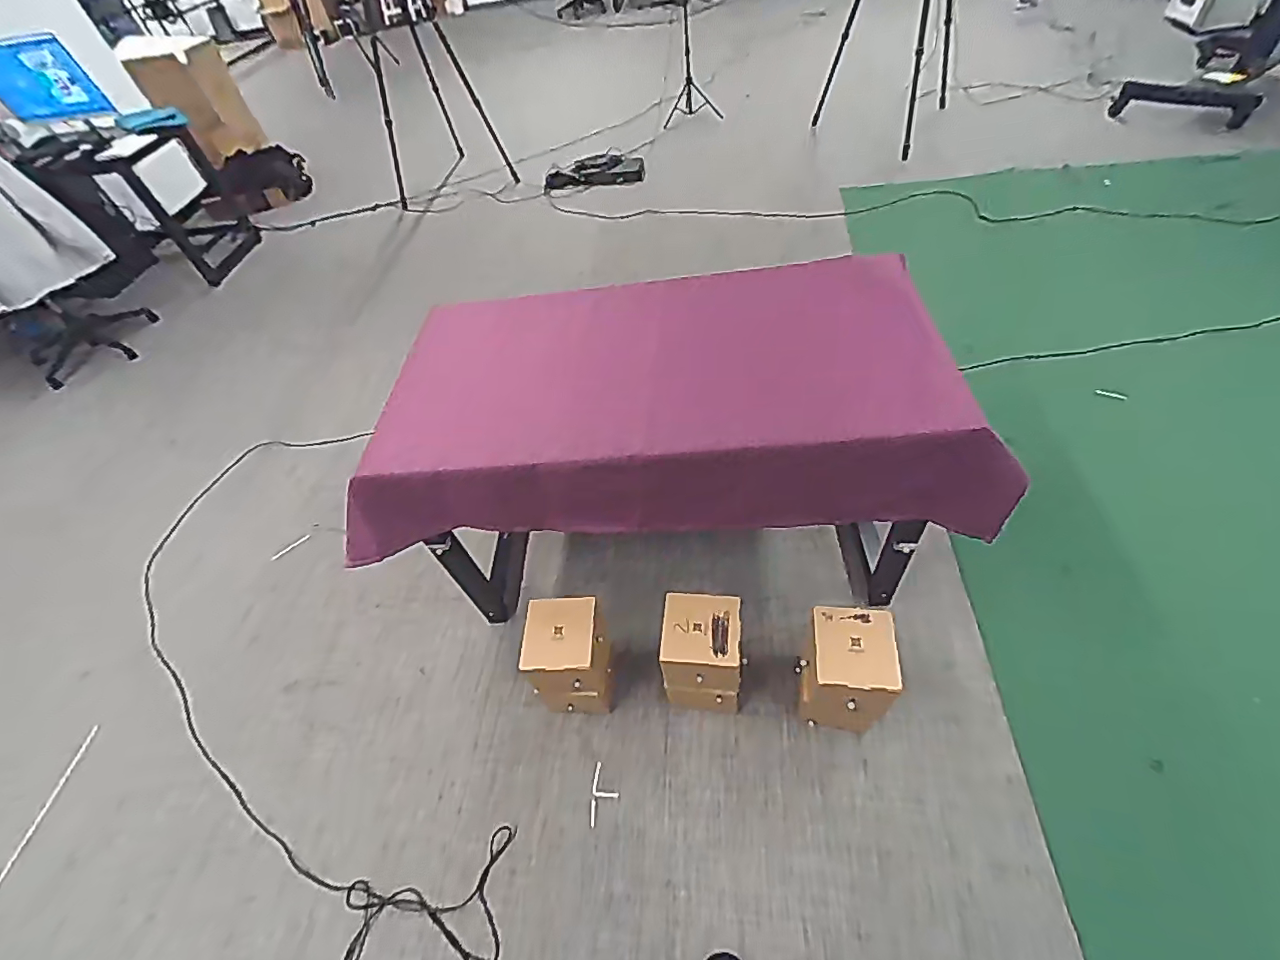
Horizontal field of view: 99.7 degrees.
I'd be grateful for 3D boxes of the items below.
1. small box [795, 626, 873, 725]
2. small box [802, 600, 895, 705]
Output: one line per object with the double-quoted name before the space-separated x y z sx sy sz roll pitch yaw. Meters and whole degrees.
"small box" 0.479 0.489 1.345 0.168 0.176 0.179 5 52 14
"small box" 0.459 0.391 1.213 0.168 0.176 0.179 3 54 10
